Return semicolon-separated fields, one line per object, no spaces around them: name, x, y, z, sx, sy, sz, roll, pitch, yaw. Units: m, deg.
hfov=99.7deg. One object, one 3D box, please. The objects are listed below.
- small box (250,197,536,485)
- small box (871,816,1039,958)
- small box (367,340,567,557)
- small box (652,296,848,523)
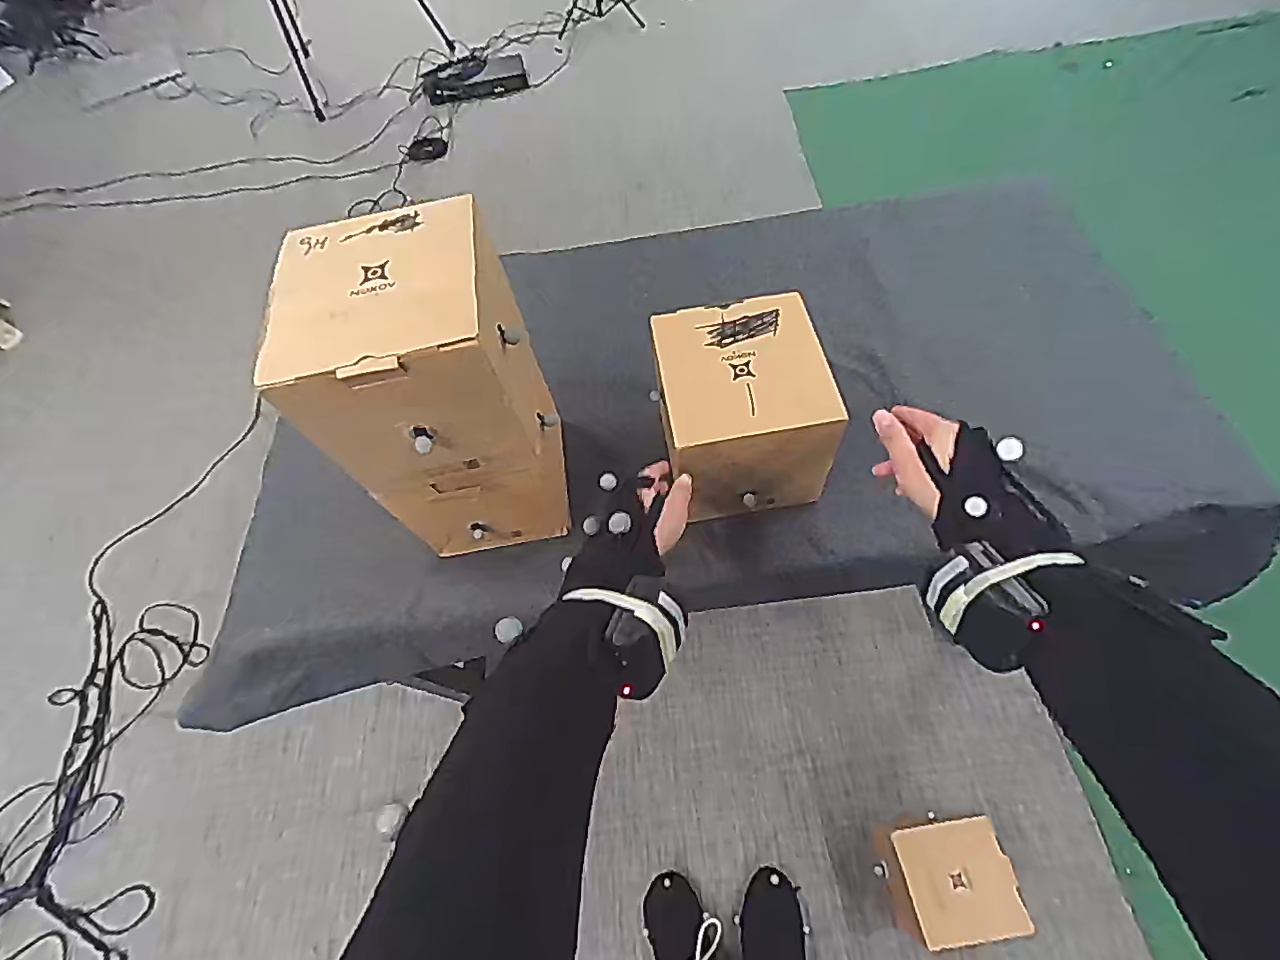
small box;-0.198;-0.109;0.484;0.168;0.176;0.179;-12;61;0
small box;0.541;0.707;0.958;0.179;0.176;0.168;-12;59;1
small box;-0.186;-0.031;0.627;0.168;0.176;0.179;-11;60;1
small box;0.110;-0.073;0.610;0.168;0.176;0.179;-10;60;2
